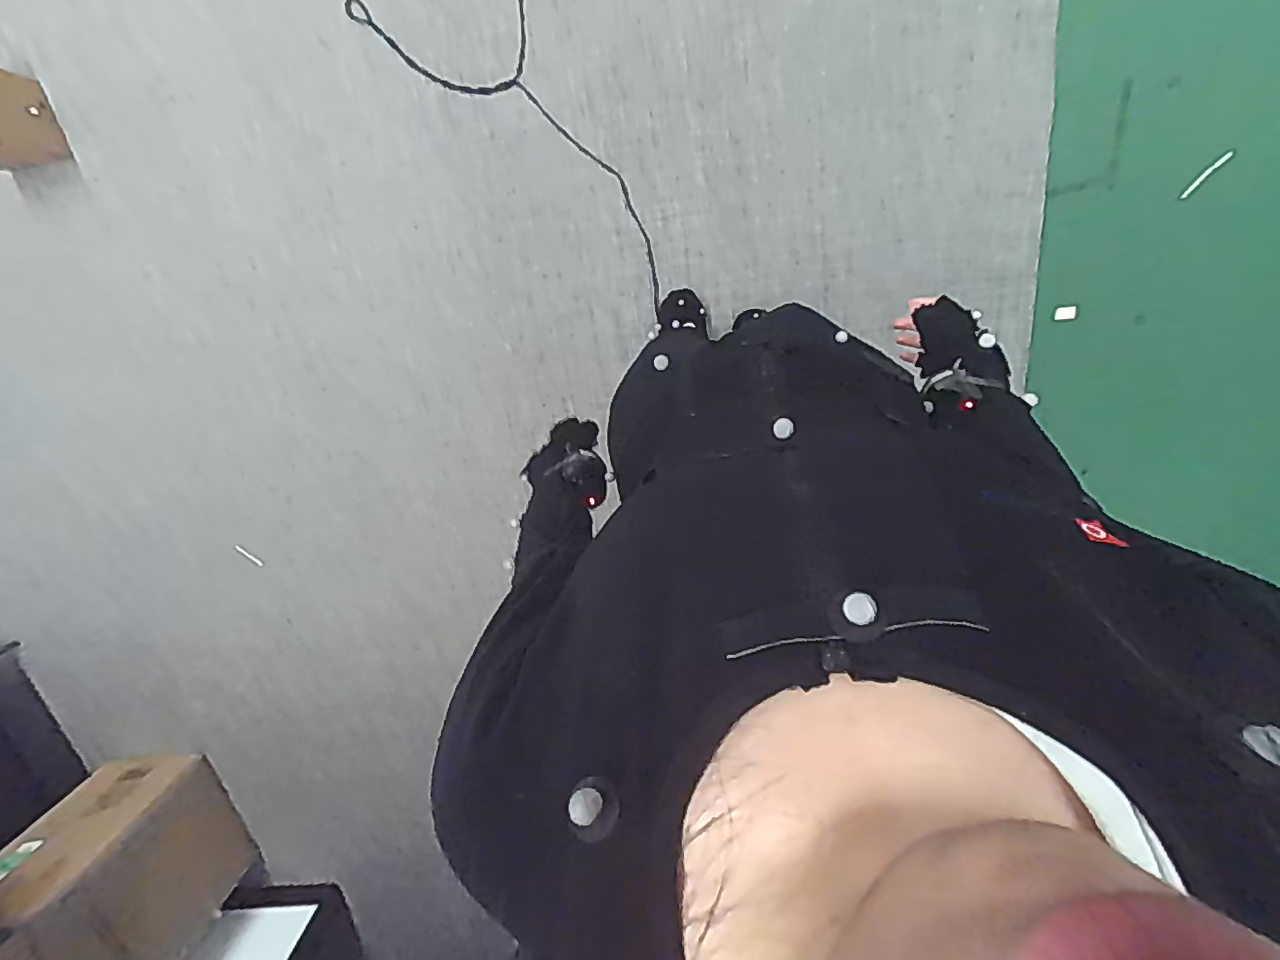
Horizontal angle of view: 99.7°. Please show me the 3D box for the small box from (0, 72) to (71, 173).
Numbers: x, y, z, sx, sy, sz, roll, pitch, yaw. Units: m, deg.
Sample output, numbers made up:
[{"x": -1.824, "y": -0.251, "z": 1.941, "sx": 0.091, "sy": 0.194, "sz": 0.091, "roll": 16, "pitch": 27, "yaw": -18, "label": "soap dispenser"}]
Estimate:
[{"x": -1.497, "y": -0.825, "z": 1.241, "sx": 0.179, "sy": 0.176, "sz": 0.168, "roll": -9, "pitch": 109, "yaw": 7, "label": "small box"}]
